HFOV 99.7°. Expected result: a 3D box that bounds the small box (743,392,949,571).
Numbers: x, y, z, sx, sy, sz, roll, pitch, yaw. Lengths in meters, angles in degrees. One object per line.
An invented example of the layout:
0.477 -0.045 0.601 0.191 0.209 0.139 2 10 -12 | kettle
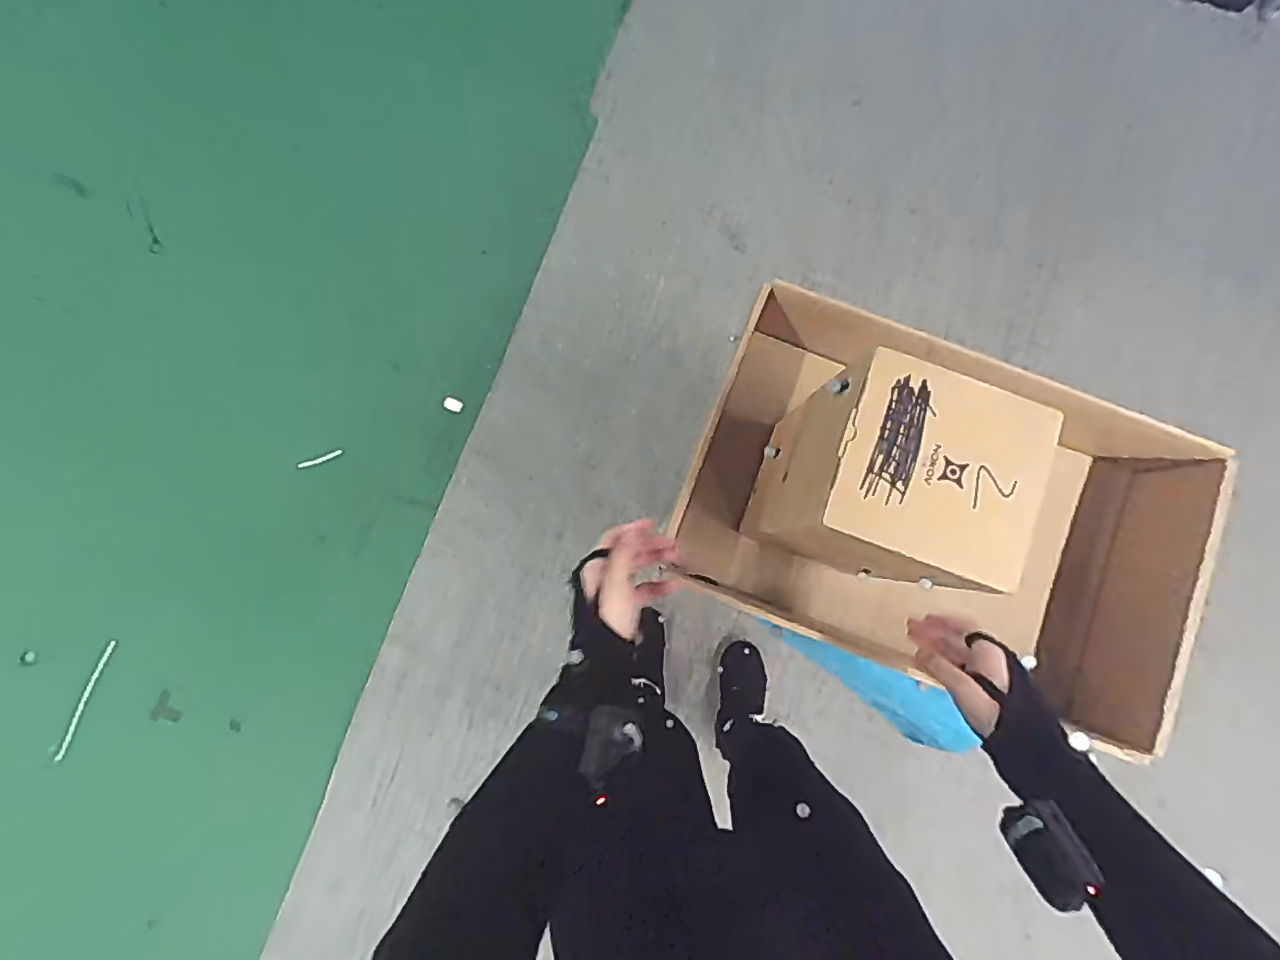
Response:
0.249 0.009 0.697 0.179 0.176 0.168 20 84 0 | small box
